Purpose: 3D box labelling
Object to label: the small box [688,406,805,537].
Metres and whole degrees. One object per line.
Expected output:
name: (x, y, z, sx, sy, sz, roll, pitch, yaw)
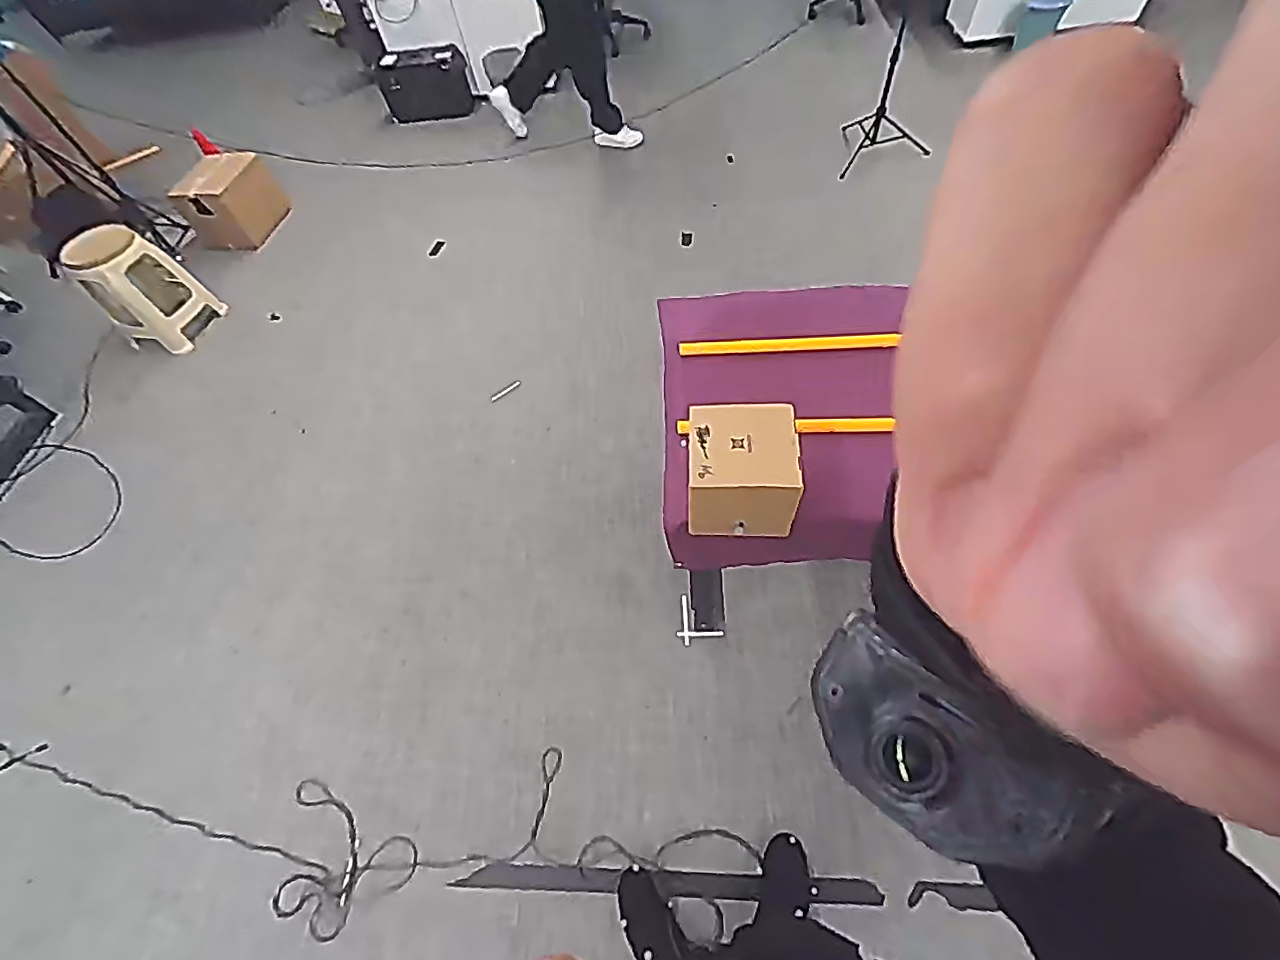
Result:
small box: (0.174, -0.010, 0.933, 0.179, 0.176, 0.168, 1, 57, 5)
